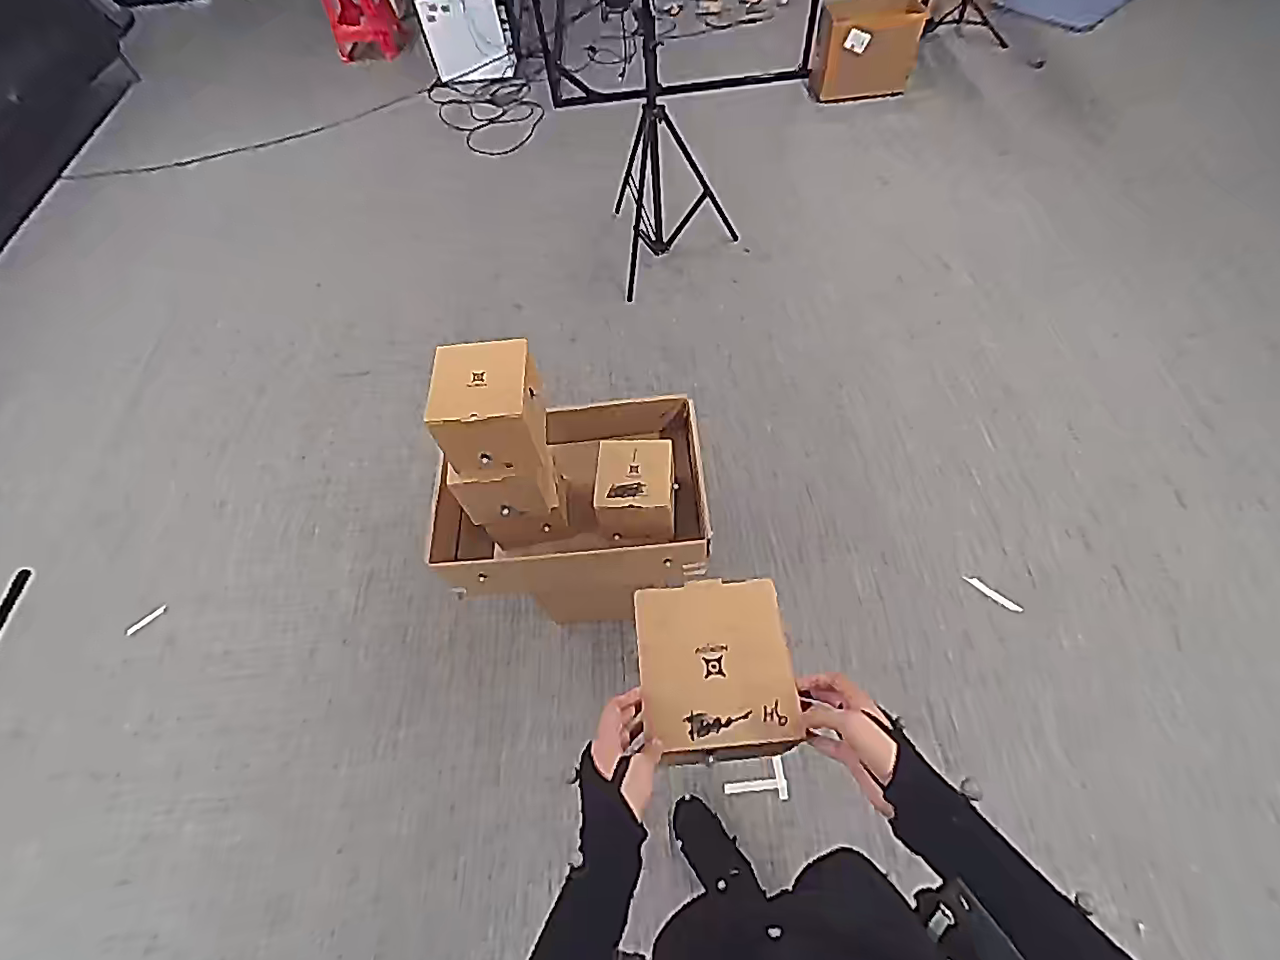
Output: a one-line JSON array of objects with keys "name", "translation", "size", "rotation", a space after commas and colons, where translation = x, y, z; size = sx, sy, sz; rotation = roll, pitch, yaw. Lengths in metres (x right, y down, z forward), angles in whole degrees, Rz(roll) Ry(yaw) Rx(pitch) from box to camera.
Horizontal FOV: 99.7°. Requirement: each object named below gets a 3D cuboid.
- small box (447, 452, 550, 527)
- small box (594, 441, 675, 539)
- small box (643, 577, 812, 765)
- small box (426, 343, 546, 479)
[{"name": "small box", "translation": [-0.285, -0.024, 1.120], "size": [0.168, 0.176, 0.179], "rotation": [-9, 60, -1]}, {"name": "small box", "translation": [-0.005, 0.029, 1.247], "size": [0.168, 0.176, 0.179], "rotation": [-1, 60, 6]}, {"name": "small box", "translation": [0.092, 0.235, 0.654], "size": [0.168, 0.176, 0.179], "rotation": [-5, 58, 1]}, {"name": "small box", "translation": [-0.270, -0.122, 0.987], "size": [0.168, 0.176, 0.179], "rotation": [-6, 59, 0]}]
